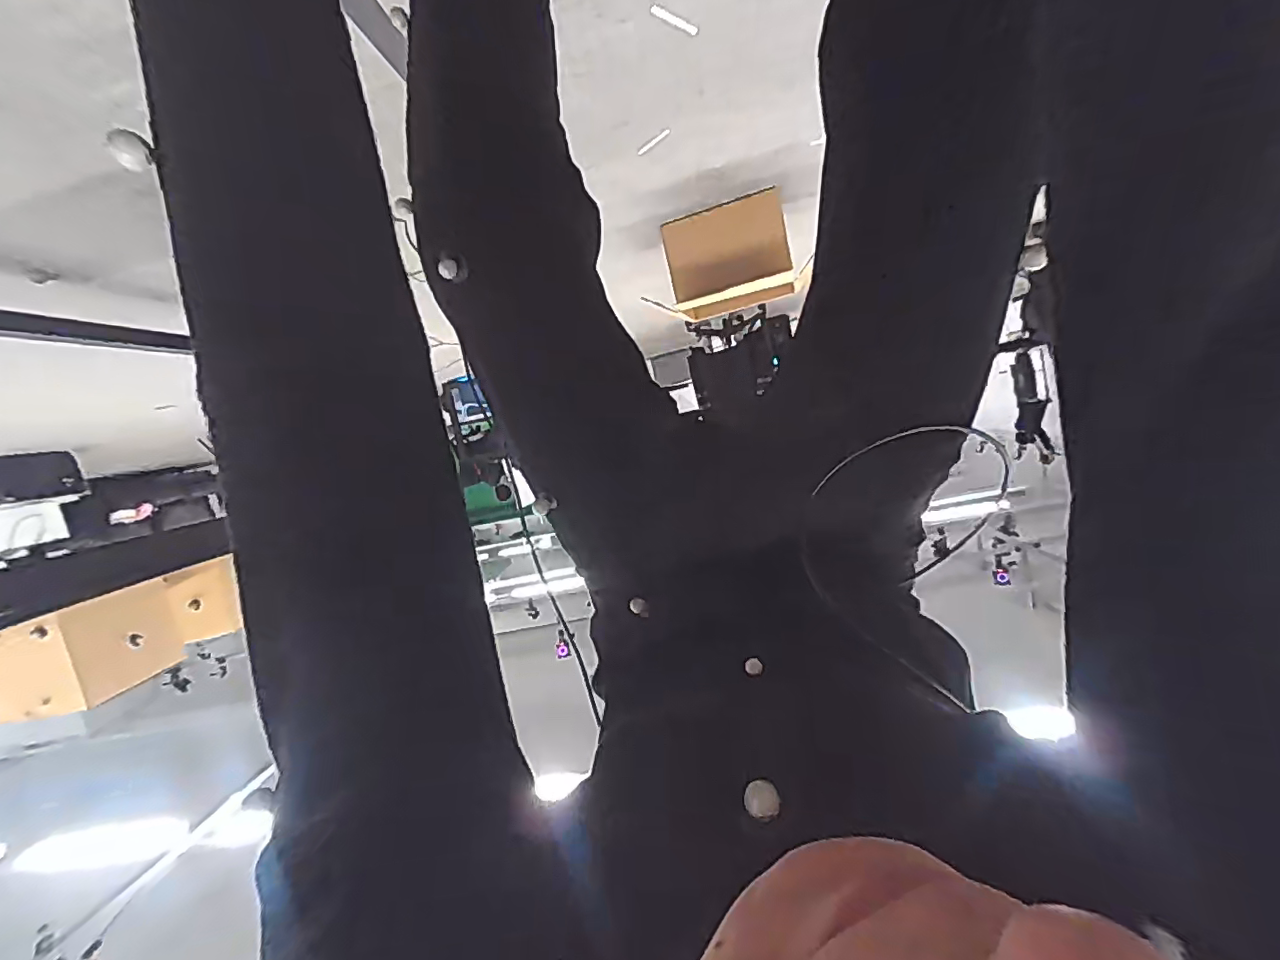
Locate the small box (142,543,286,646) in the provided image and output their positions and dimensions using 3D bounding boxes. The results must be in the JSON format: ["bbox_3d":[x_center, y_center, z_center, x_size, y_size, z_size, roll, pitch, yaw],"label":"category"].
[{"bbox_3d":[-0.933,0.251,1.192,0.168,0.176,0.179,-13,-173,-6],"label":"small box"}]

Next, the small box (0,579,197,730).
[{"bbox_3d":[-0.922,0.284,0.914,0.168,0.176,0.179,-12,-172,5],"label":"small box"}]
